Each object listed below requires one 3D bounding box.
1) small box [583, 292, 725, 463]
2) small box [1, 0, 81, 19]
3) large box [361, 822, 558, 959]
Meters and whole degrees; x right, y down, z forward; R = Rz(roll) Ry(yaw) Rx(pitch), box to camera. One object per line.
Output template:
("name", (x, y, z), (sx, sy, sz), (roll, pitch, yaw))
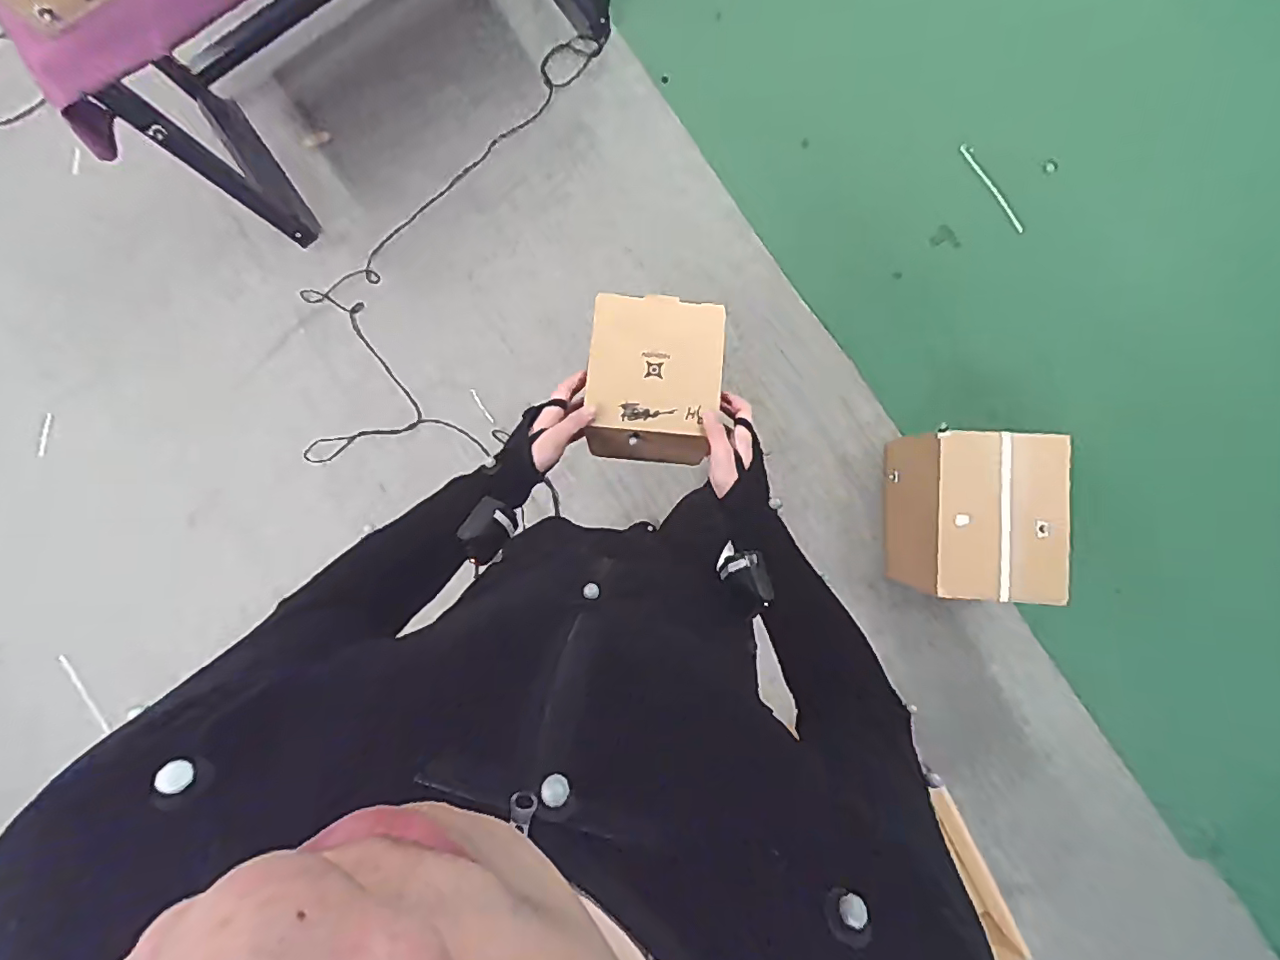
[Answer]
("small box", (0.016, -0.130, 0.742), (0.168, 0.176, 0.179), (5, 81, -1))
("small box", (-1.043, -0.911, 0.880), (0.168, 0.176, 0.179), (-32, 86, 0))
("large box", (-0.466, 1.200, 1.468), (0.408, 0.320, 0.320), (-10, 89, 0))
